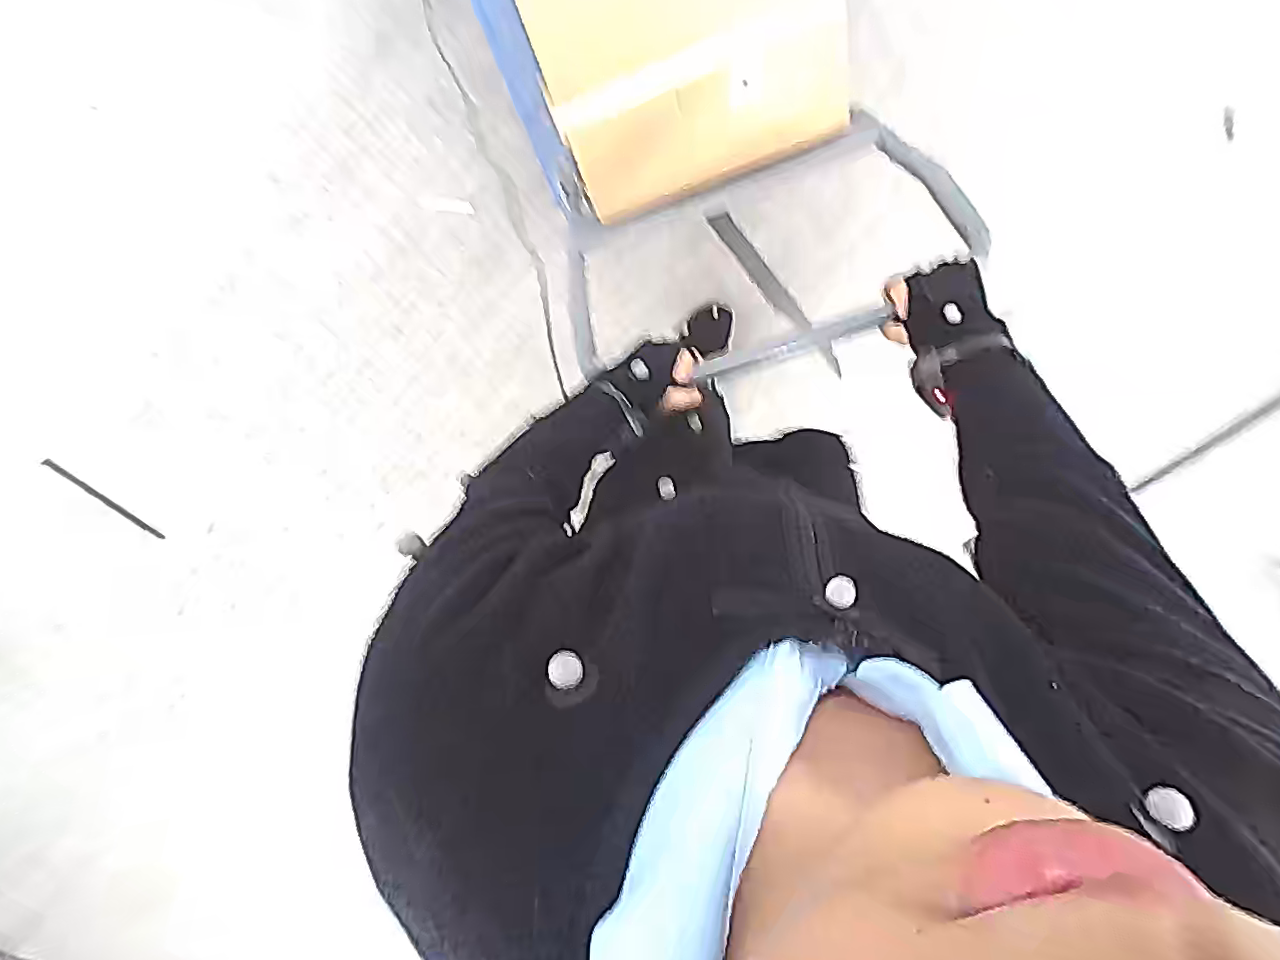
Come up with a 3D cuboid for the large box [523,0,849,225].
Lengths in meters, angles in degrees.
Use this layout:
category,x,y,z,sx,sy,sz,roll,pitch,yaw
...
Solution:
category,x,y,z,sx,sy,sz,roll,pitch,yaw
large box,0.069,-0.682,0.873,0.408,0.320,0.320,-18,132,10
